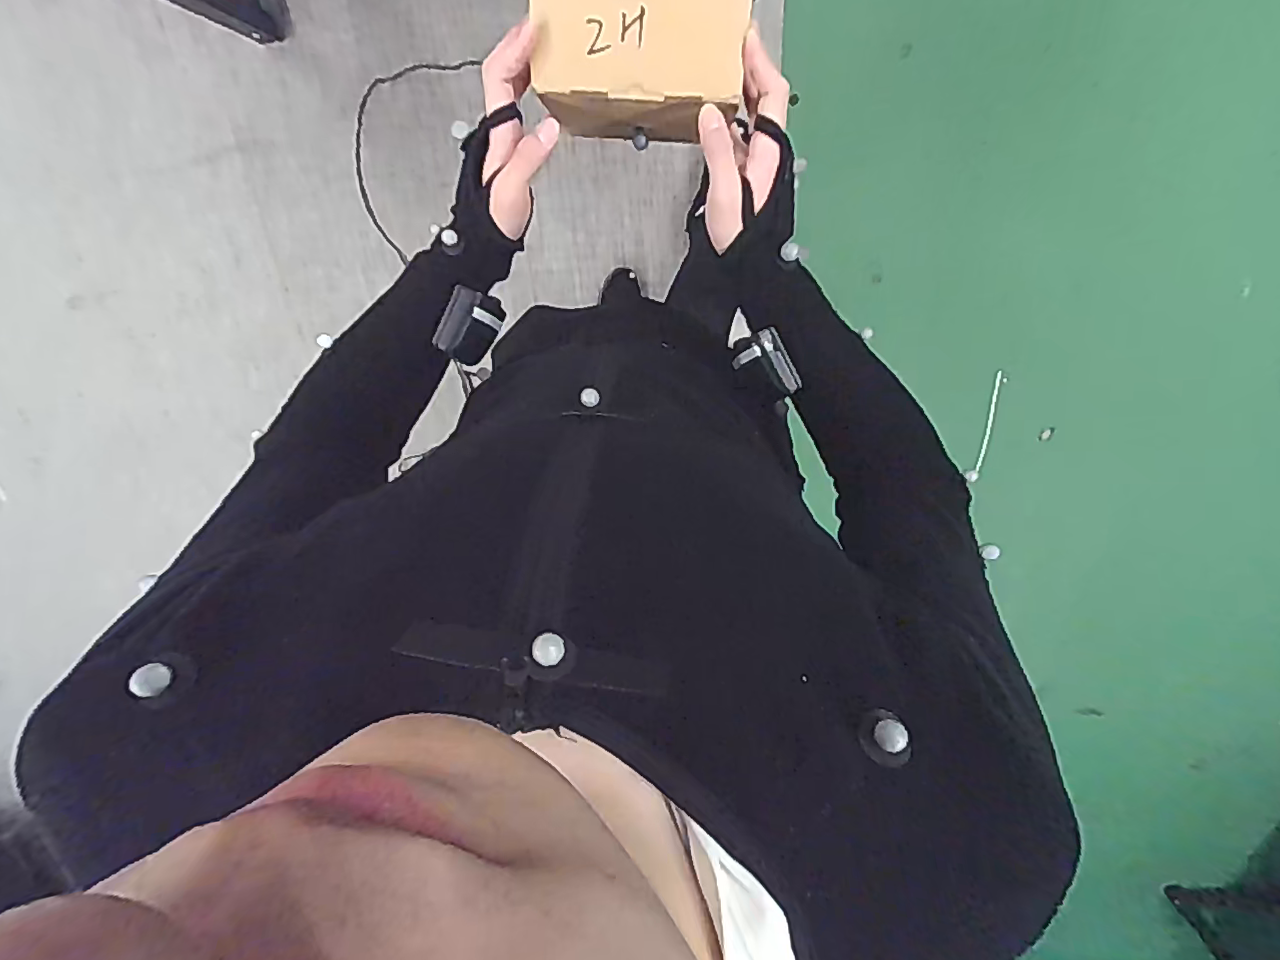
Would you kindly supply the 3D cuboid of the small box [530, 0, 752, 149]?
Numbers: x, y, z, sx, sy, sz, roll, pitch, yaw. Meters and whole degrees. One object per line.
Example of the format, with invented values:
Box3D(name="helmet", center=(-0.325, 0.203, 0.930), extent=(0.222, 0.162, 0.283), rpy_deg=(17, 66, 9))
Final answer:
Box3D(name="small box", center=(0.007, -0.407, 0.462), extent=(0.168, 0.176, 0.179), rpy_deg=(5, 111, 2))
